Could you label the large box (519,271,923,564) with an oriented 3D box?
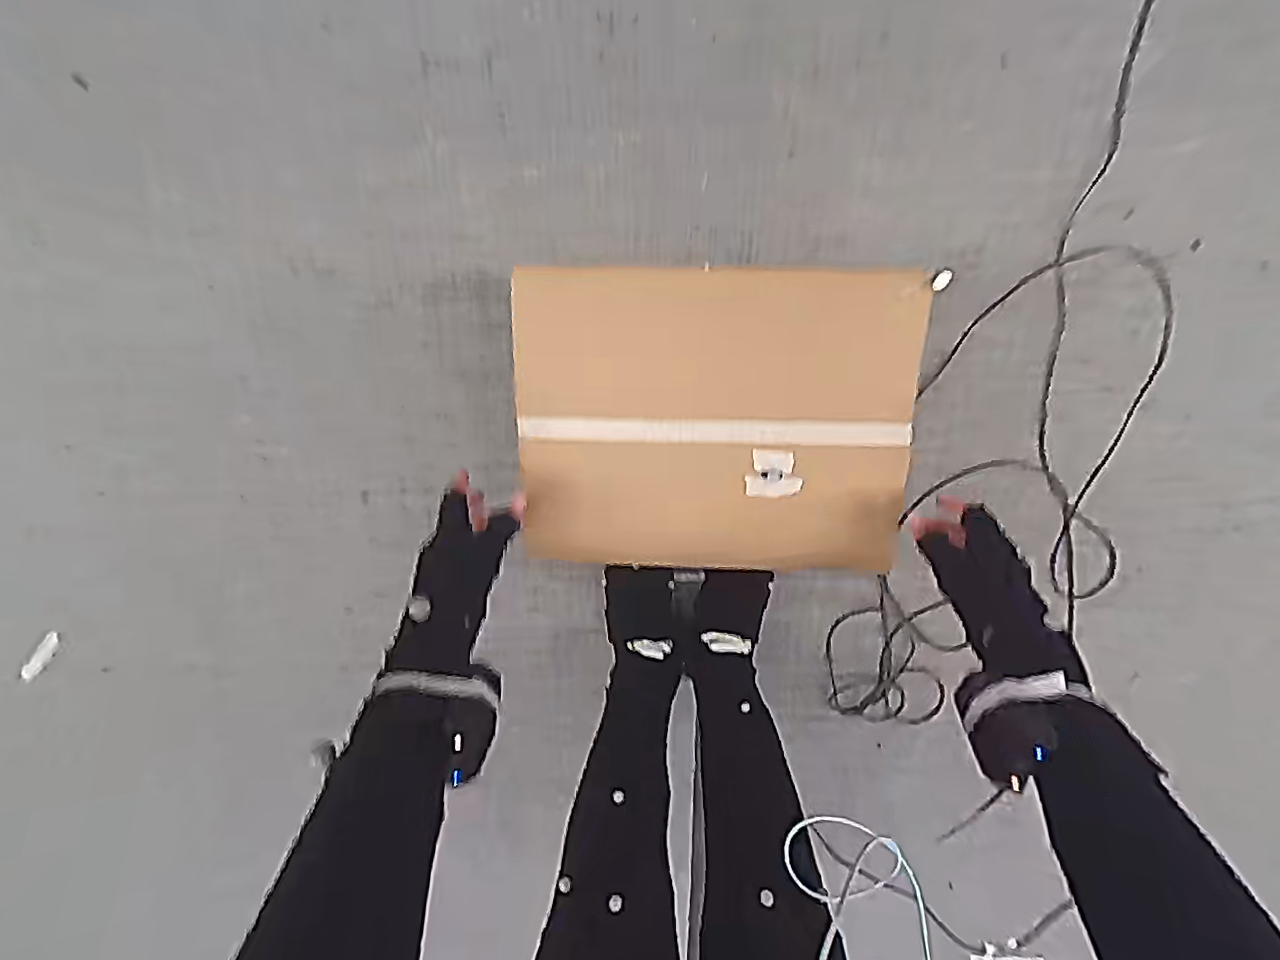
[{"bbox_3d":[0.083,-0.094,0.713,0.408,0.320,0.320,1,106,3],"label":"large box"}]
